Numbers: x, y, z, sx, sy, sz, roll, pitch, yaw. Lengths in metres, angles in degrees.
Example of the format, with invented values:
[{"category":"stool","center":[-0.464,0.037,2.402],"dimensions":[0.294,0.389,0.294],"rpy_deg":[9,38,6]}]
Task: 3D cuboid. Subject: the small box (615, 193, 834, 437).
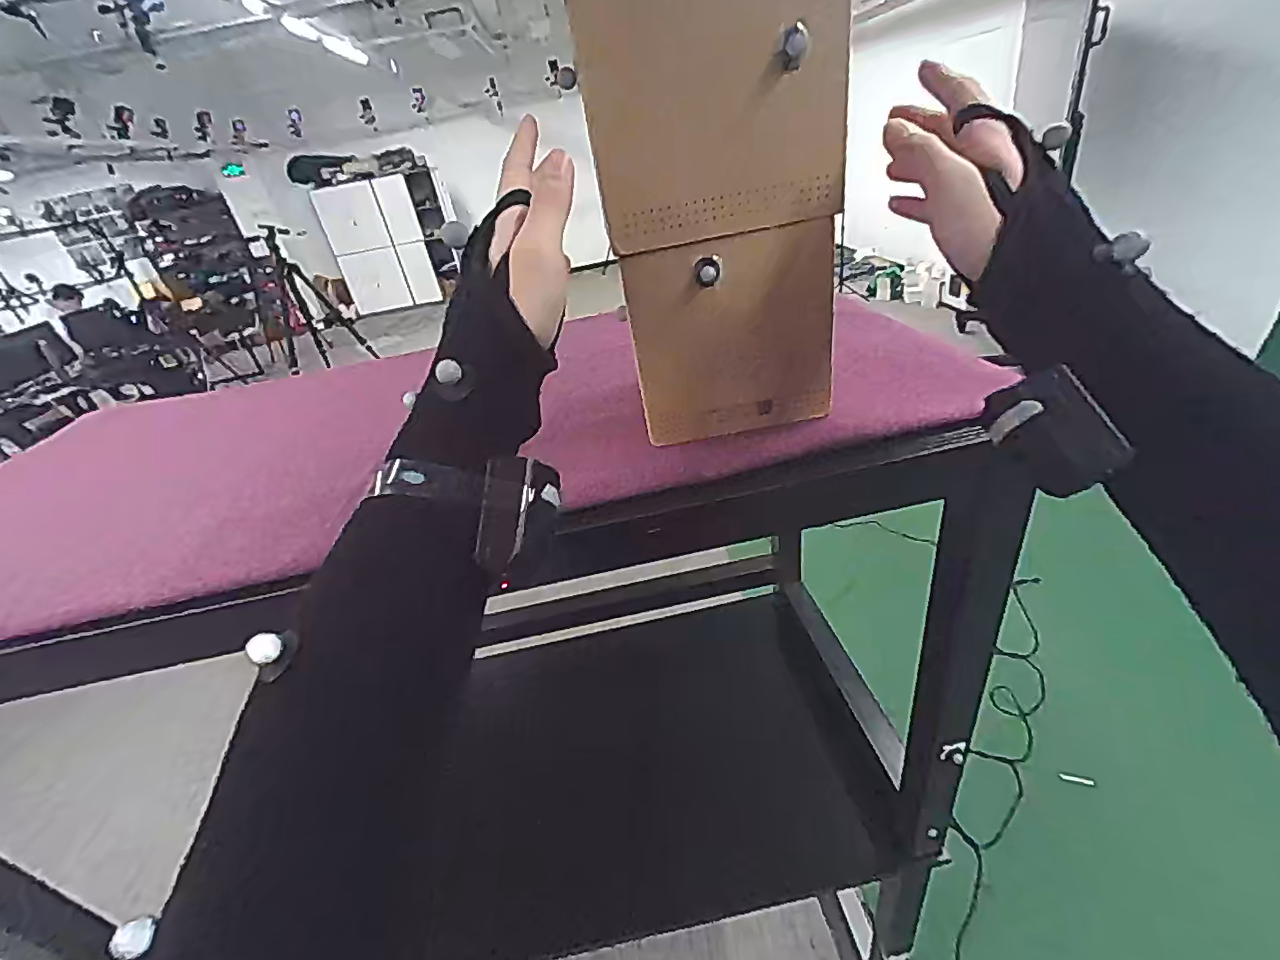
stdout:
[{"category":"small box","center":[0.072,-0.160,0.514],"dimensions":[0.168,0.176,0.179],"rpy_deg":[-11,32,3]}]
